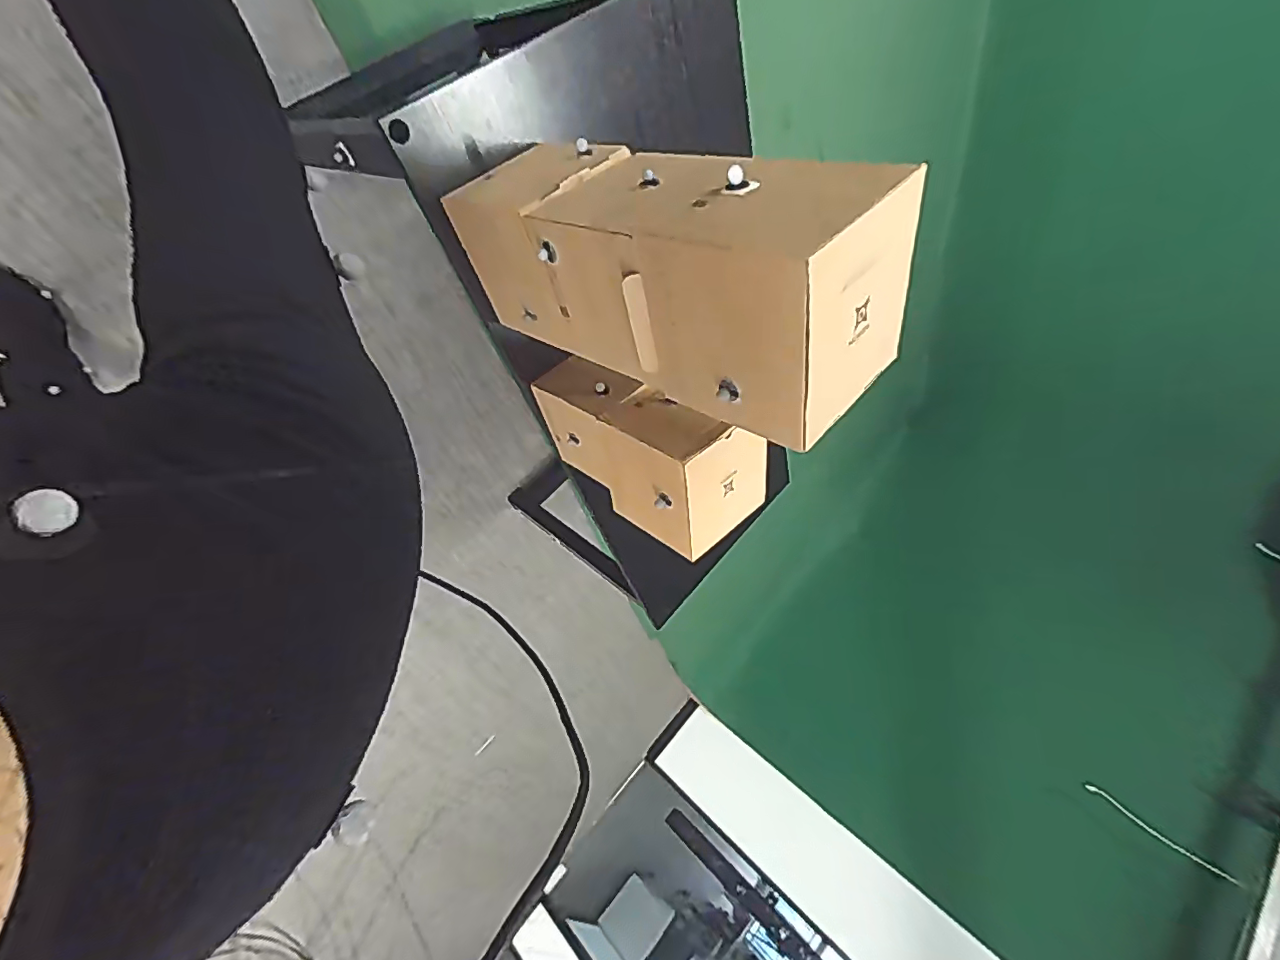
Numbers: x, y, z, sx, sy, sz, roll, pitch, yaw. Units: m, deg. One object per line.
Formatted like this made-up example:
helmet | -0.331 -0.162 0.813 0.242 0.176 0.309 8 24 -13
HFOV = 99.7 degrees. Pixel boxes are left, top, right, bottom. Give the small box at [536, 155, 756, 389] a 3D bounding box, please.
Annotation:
small box | 0.010 -0.230 0.584 0.179 0.176 0.168 -42 140 -23

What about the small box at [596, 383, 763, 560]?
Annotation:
small box | 0.058 -0.026 0.777 0.168 0.176 0.179 -34 136 -28

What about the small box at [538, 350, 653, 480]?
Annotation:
small box | -0.043 -0.114 0.873 0.179 0.176 0.168 -41 139 -23

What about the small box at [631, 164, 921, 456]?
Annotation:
small box | 0.116 -0.158 0.483 0.168 0.176 0.179 -42 140 -24
